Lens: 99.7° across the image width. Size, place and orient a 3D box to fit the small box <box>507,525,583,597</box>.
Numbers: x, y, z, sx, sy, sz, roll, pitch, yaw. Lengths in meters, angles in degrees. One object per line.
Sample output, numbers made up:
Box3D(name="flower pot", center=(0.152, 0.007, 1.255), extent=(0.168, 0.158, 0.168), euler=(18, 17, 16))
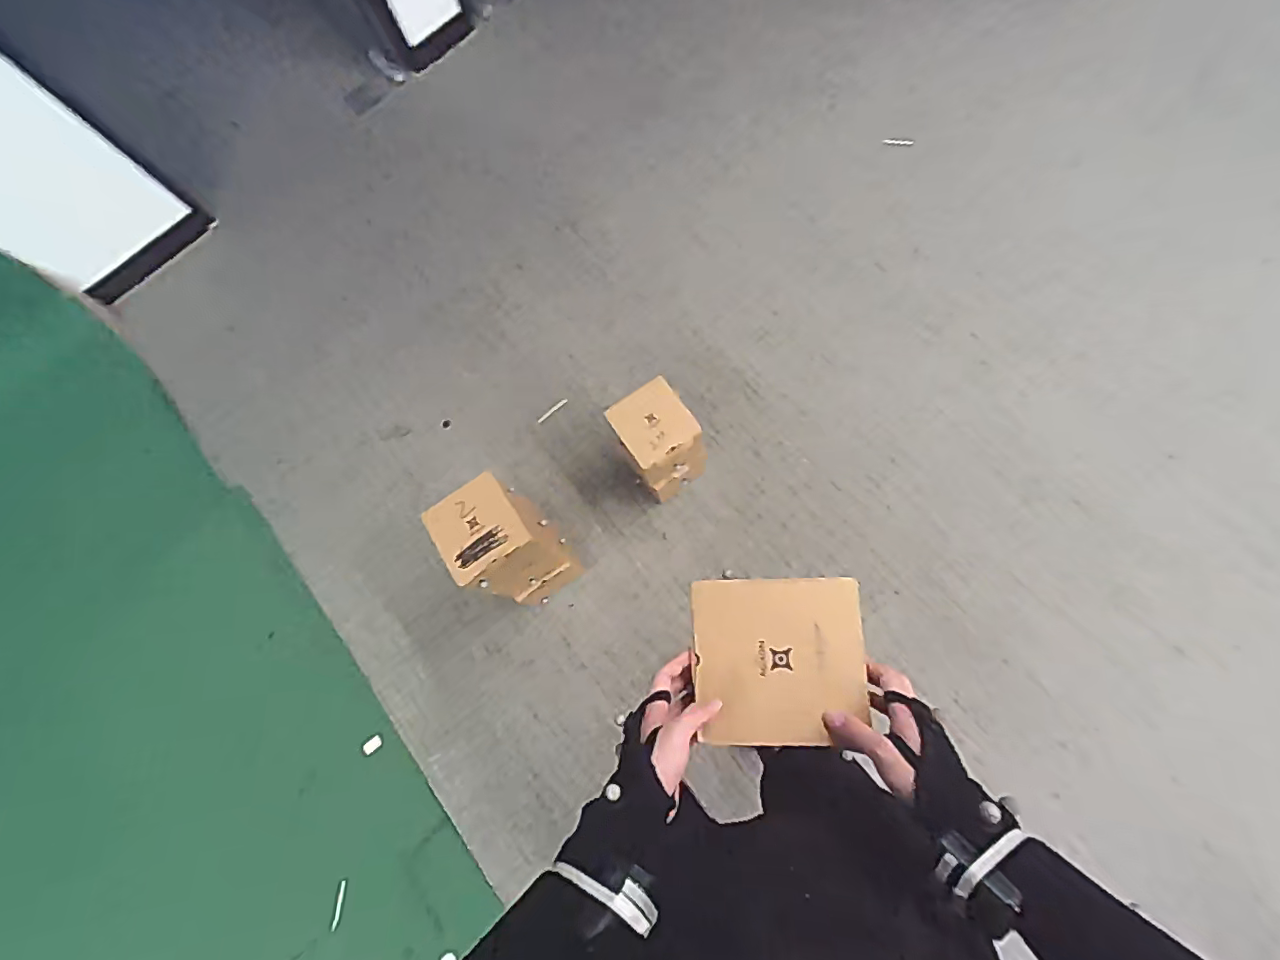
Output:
Box3D(name="small box", center=(-0.273, 0.199, 1.445), extent=(0.168, 0.176, 0.179), euler=(-35, 73, -4))

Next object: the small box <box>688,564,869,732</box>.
Box3D(name="small box", center=(0.150, 0.187, 0.634), extent=(0.179, 0.176, 0.168), euler=(-2, 79, 7))

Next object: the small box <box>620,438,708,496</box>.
Box3D(name="small box", center=(0.070, -0.071, 1.478), extent=(0.168, 0.176, 0.179), euler=(-37, 75, -4))

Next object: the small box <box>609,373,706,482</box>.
Box3D(name="small box", center=(0.046, -0.121, 1.322), extent=(0.168, 0.176, 0.179), euler=(-33, 74, -2))

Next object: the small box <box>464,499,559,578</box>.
Box3D(name="small box", center=(-0.303, 0.146, 1.301), extent=(0.179, 0.176, 0.168), euler=(-4, 77, 6))
